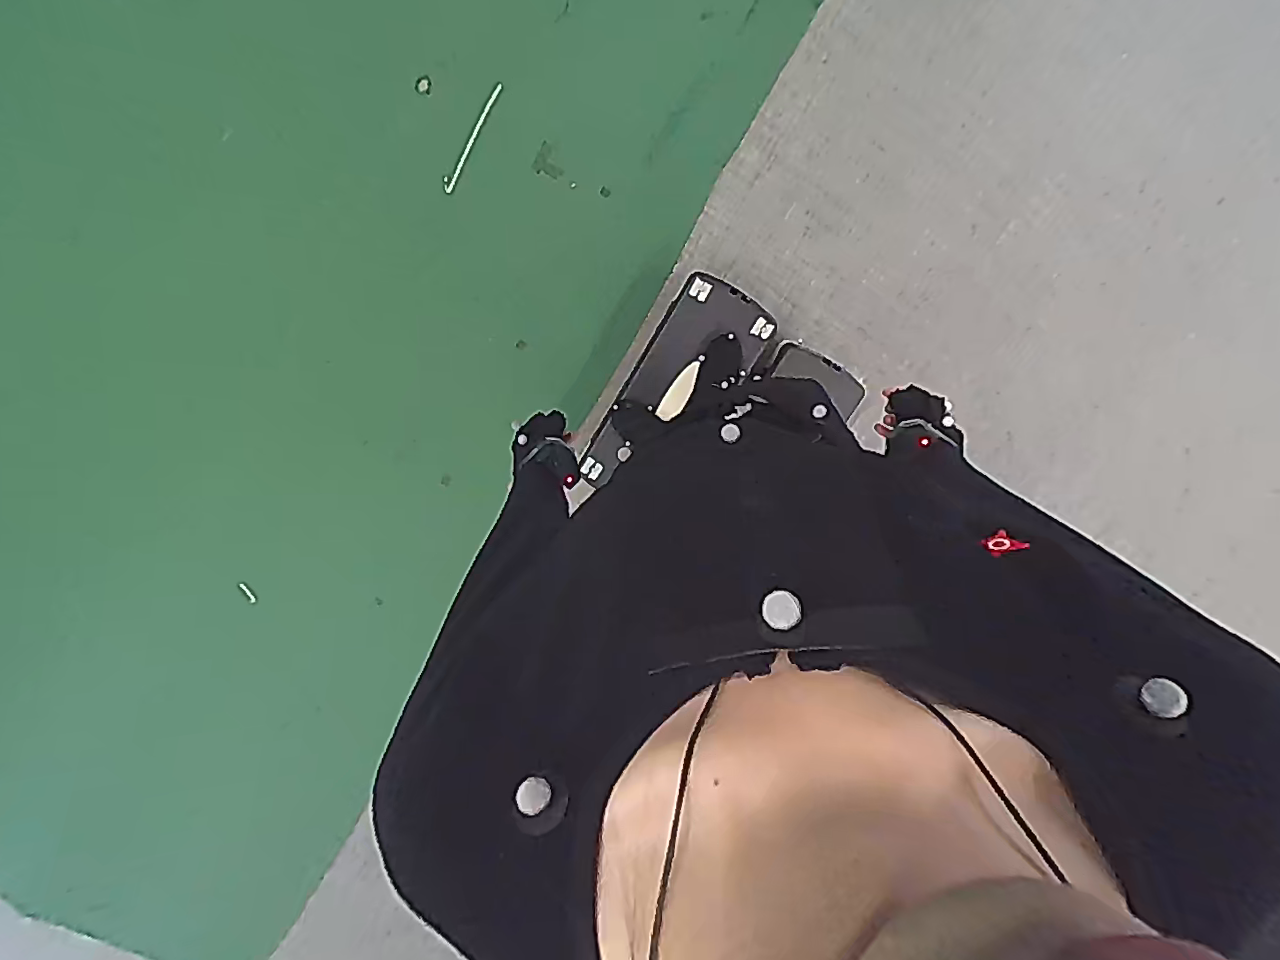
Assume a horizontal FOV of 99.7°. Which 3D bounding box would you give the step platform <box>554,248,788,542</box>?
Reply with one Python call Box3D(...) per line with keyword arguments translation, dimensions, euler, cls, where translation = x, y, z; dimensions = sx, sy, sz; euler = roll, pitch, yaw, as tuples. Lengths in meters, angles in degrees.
Box3D(translation=(0.063, -0.198, 1.348), dimensions=(0.286, 0.204, 0.684), euler=(30, 102, -7), cls="step platform")
